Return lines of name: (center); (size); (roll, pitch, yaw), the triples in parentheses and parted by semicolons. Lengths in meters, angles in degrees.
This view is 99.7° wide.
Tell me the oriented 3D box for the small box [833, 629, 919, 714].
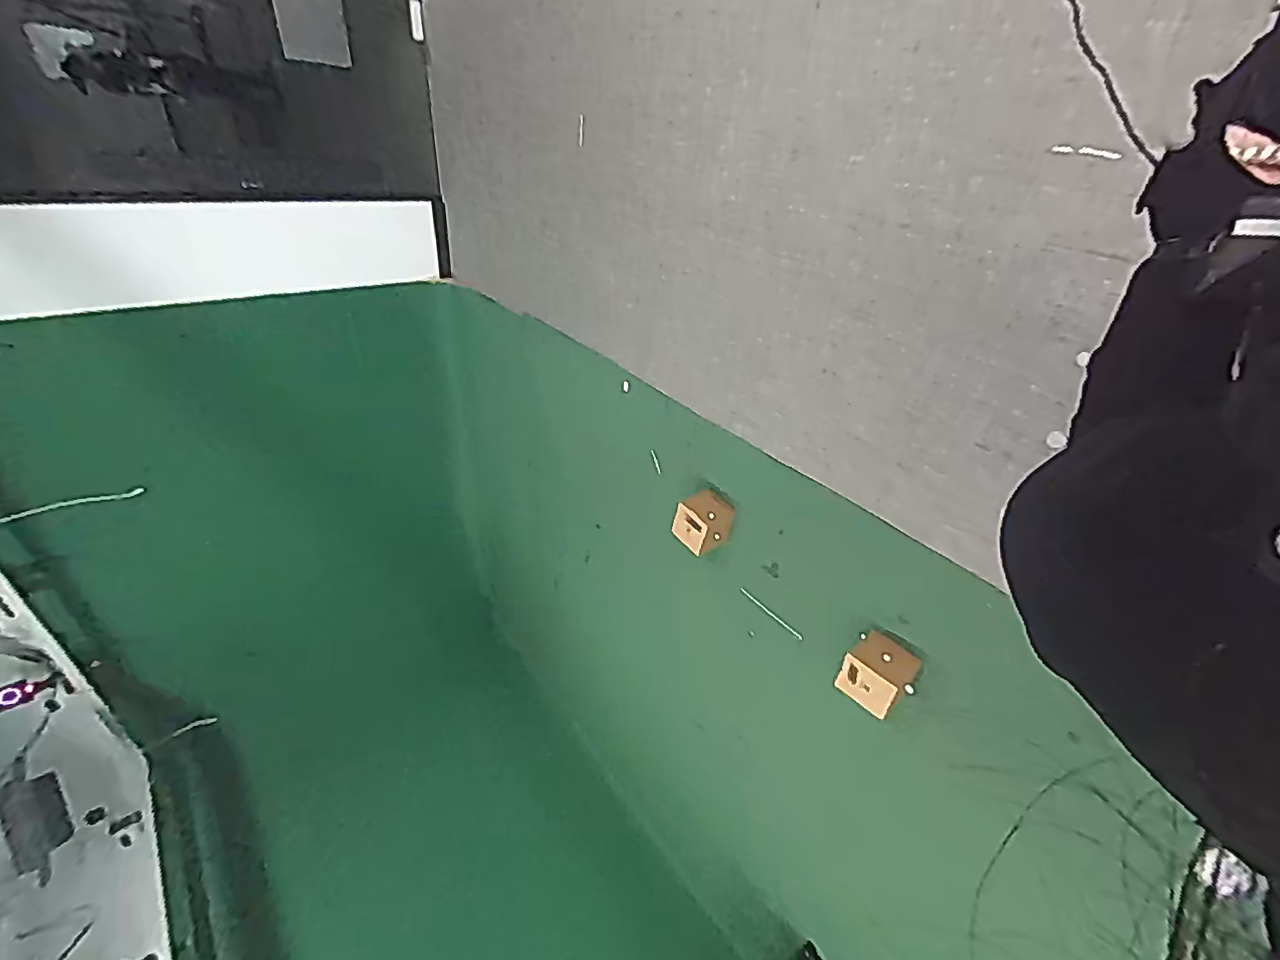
small box: (0.776, 0.617, 1.778); (0.179, 0.176, 0.168); (34, 133, 37)
